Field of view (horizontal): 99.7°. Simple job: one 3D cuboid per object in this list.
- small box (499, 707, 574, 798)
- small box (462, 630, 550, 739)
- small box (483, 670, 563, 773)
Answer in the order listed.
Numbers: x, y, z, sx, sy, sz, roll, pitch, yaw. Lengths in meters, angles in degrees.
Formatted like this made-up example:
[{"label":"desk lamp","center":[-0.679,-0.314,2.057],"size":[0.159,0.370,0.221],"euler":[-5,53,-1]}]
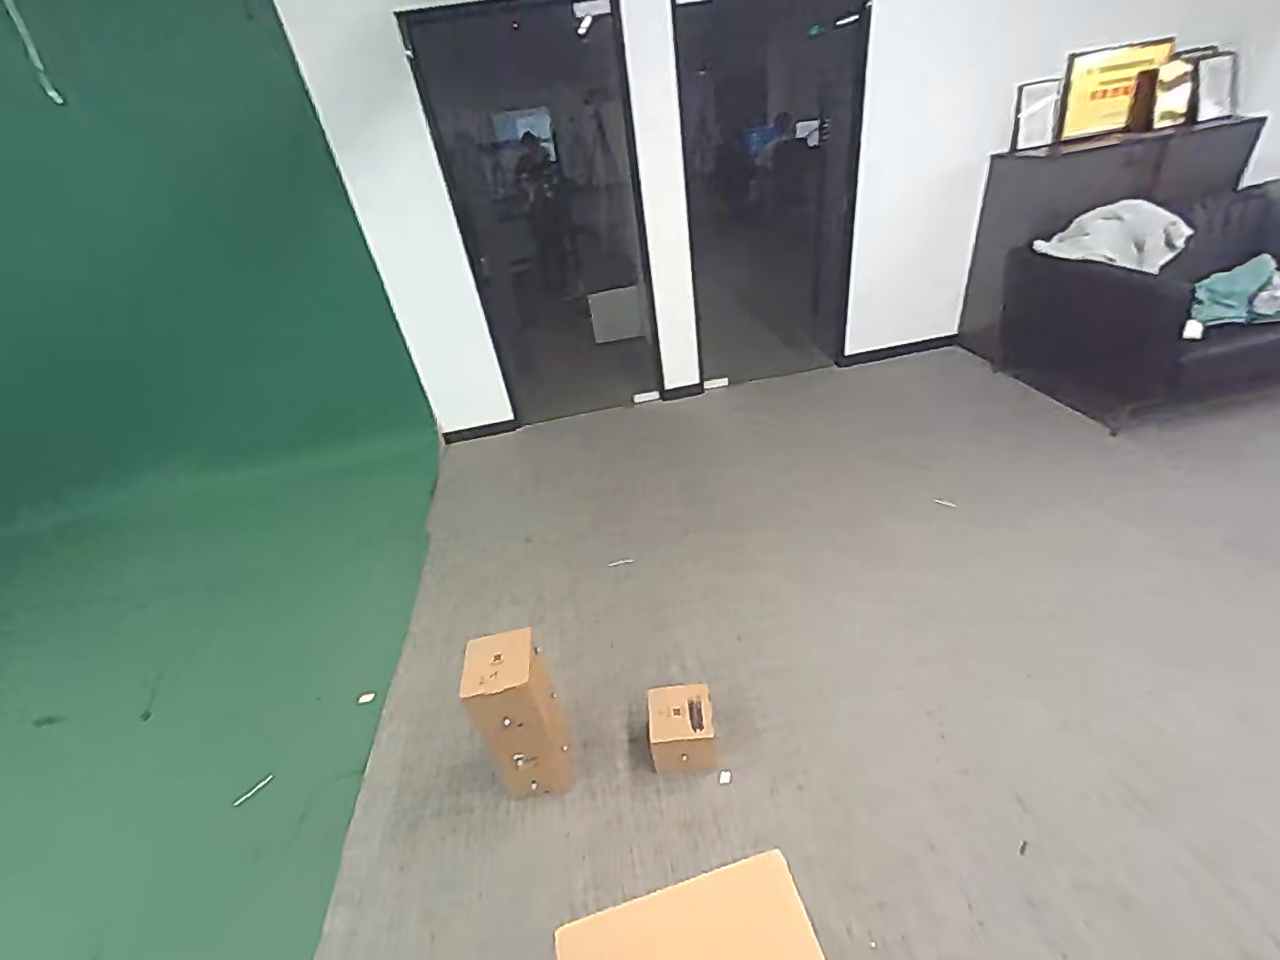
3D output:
[{"label":"small box","center":[-0.287,0.778,1.538],"size":[0.168,0.176,0.179],"euler":[-9,34,1]},{"label":"small box","center":[-0.327,0.510,1.354],"size":[0.168,0.176,0.179],"euler":[-12,33,-1]},{"label":"small box","center":[-0.306,0.645,1.448],"size":[0.168,0.176,0.179],"euler":[-12,34,-1]}]
